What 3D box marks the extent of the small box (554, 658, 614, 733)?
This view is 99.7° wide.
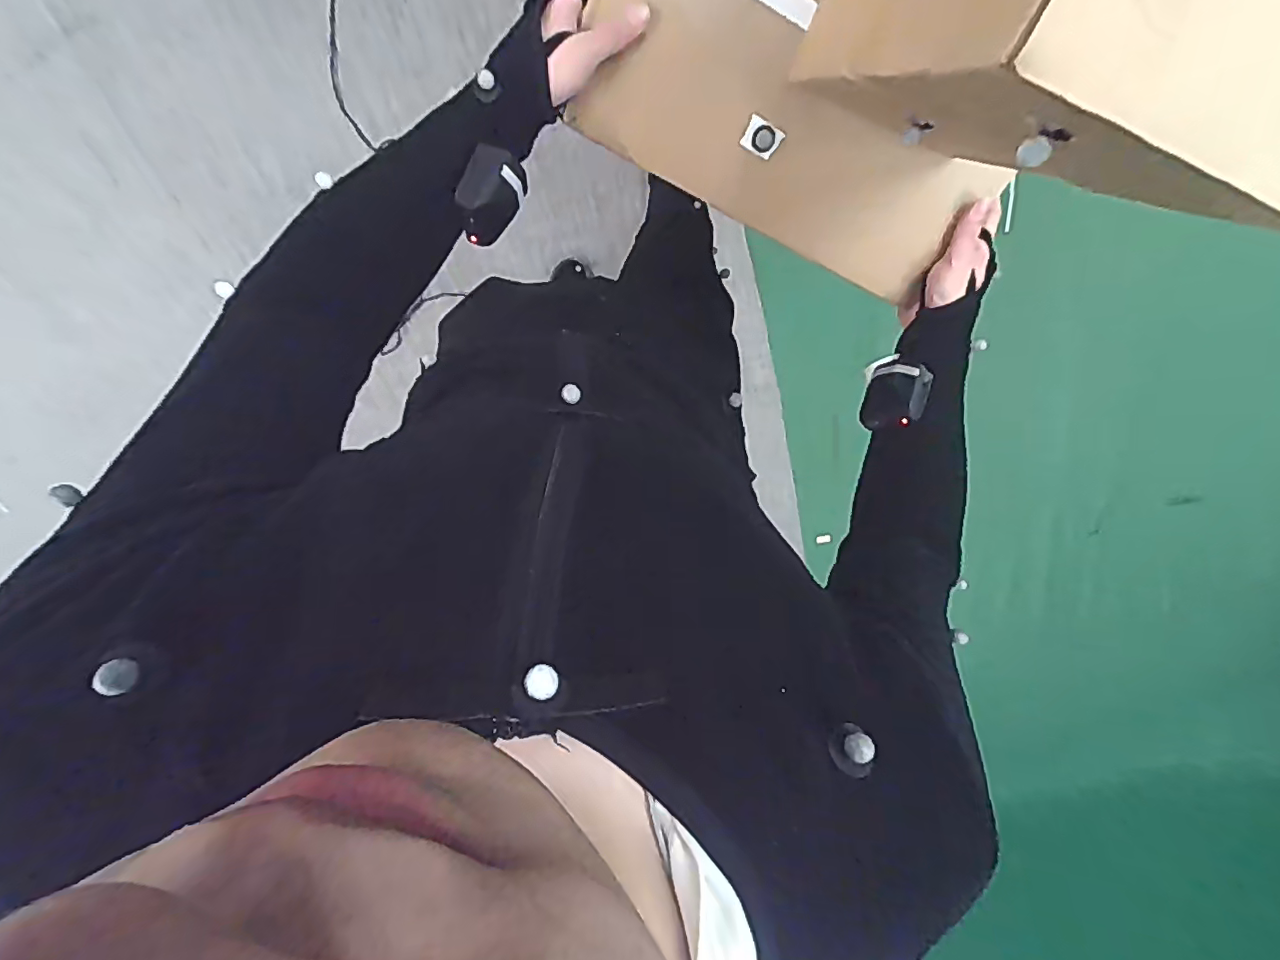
[{"bbox_3d":[-0.185,0.736,1.850,0.168,0.176,0.179,-6,120,5],"label":"small box"}]

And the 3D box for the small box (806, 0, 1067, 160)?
[{"bbox_3d":[0.236,-0.338,0.359,0.179,0.176,0.168,16,125,-10],"label":"small box"}]

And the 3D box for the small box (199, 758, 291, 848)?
[{"bbox_3d":[-1.222,1.001,1.683,0.168,0.176,0.179,24,118,-14],"label":"small box"}]
